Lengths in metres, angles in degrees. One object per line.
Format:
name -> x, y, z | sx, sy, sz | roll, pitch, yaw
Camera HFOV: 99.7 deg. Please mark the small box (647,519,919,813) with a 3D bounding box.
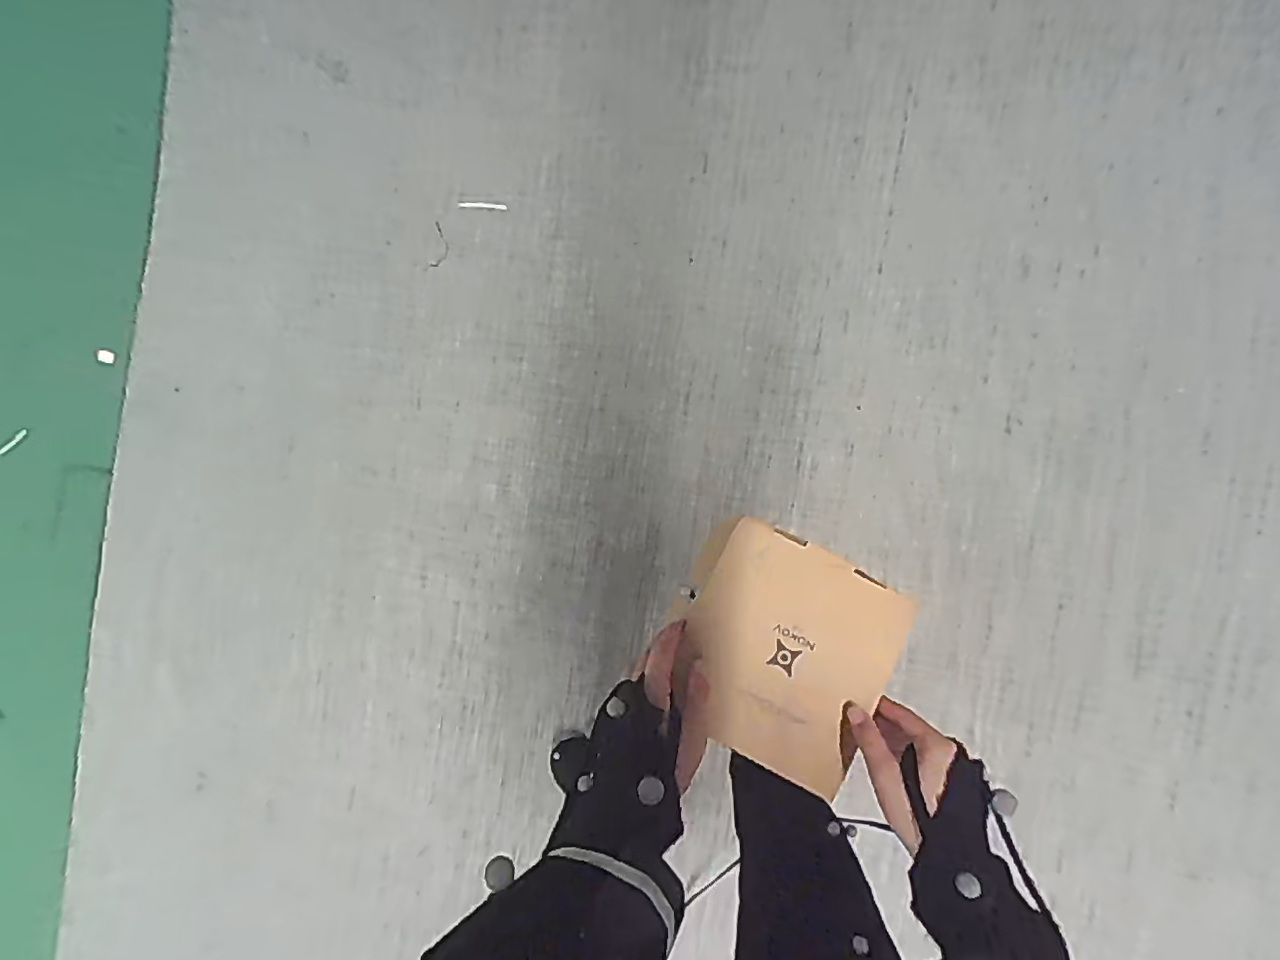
small box -> 0.114, 0.152, 0.506 | 0.168, 0.176, 0.179 | 26, 85, 5
